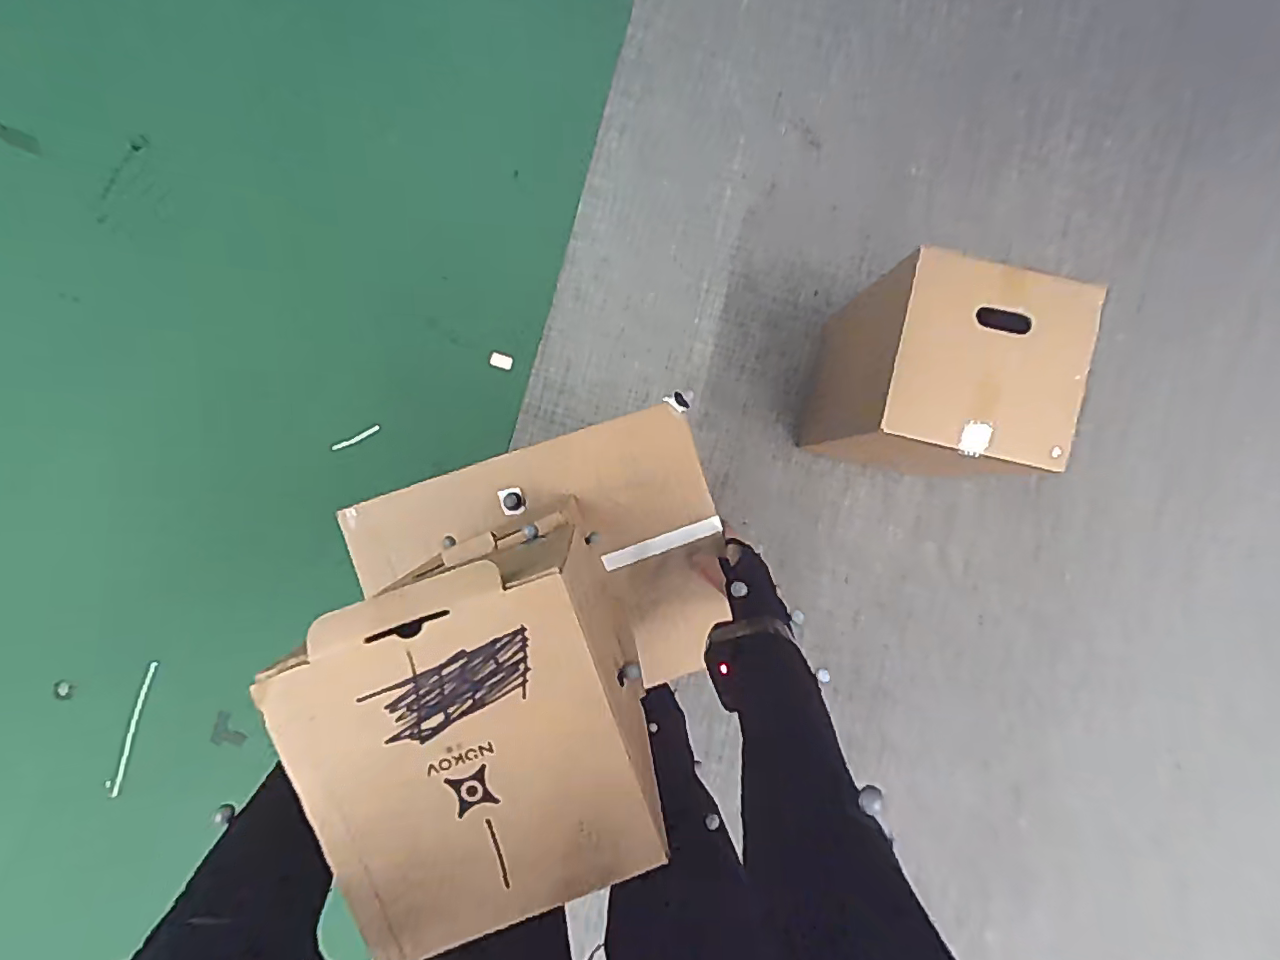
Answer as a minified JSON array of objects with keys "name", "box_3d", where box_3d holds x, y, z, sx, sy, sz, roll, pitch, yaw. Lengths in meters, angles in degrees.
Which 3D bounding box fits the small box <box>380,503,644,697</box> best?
[{"name":"small box","box_3d":[-0.110,0.129,0.522,0.168,0.176,0.179,-24,94,-2]}]

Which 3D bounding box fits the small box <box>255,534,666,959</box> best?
[{"name":"small box","box_3d":[-0.095,0.144,0.359,0.168,0.176,0.179,-20,95,-3]}]
